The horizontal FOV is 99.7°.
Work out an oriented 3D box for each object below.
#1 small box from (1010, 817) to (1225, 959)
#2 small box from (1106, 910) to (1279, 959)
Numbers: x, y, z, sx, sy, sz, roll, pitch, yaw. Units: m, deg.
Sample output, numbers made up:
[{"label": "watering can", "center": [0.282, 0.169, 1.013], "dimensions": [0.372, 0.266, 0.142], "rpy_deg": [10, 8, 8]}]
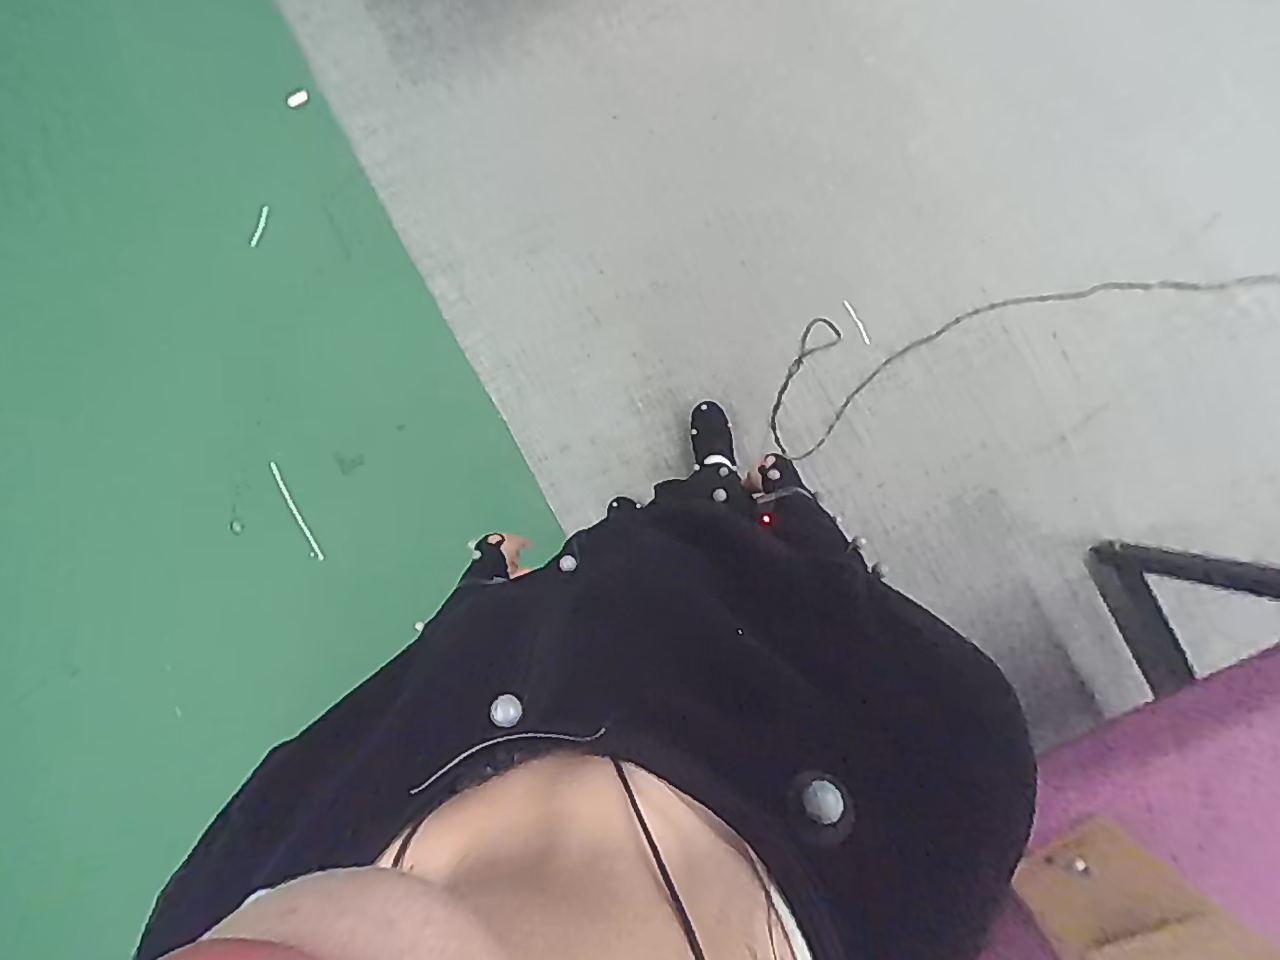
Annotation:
[{"label": "small box", "center": [0.636, 0.589, 0.692], "dimensions": [0.168, 0.176, 0.179], "rpy_deg": [-34, 90, 2]}, {"label": "small box", "center": [0.606, 0.581, 0.528], "dimensions": [0.179, 0.176, 0.168], "rpy_deg": [-20, 92, 2]}]
